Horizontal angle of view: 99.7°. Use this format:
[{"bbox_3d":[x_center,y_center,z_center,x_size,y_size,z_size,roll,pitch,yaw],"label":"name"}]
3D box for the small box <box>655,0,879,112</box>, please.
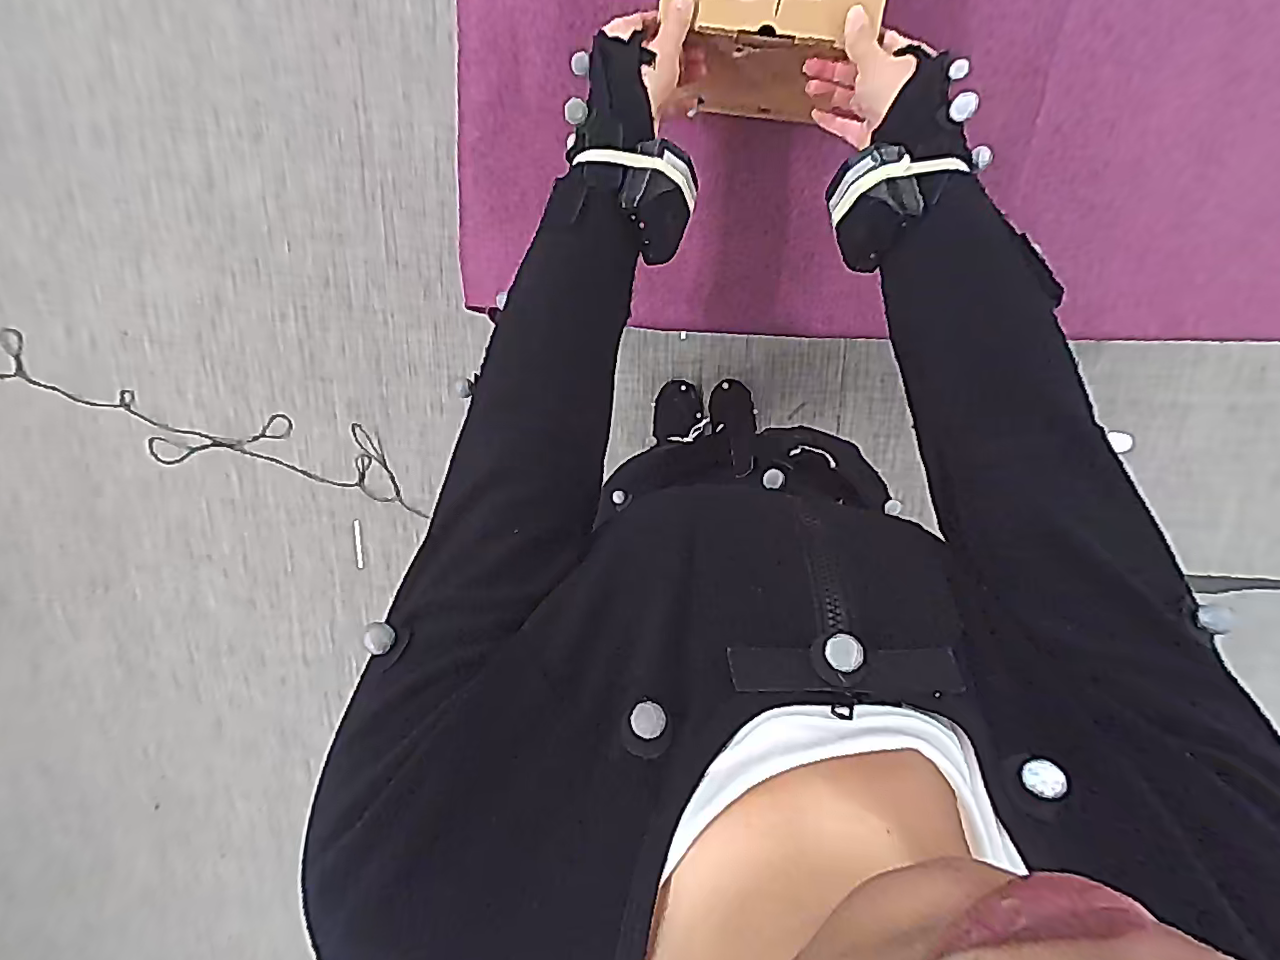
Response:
[{"bbox_3d":[0.107,-0.440,0.454,0.168,0.176,0.179,7,106,1],"label":"small box"}]
